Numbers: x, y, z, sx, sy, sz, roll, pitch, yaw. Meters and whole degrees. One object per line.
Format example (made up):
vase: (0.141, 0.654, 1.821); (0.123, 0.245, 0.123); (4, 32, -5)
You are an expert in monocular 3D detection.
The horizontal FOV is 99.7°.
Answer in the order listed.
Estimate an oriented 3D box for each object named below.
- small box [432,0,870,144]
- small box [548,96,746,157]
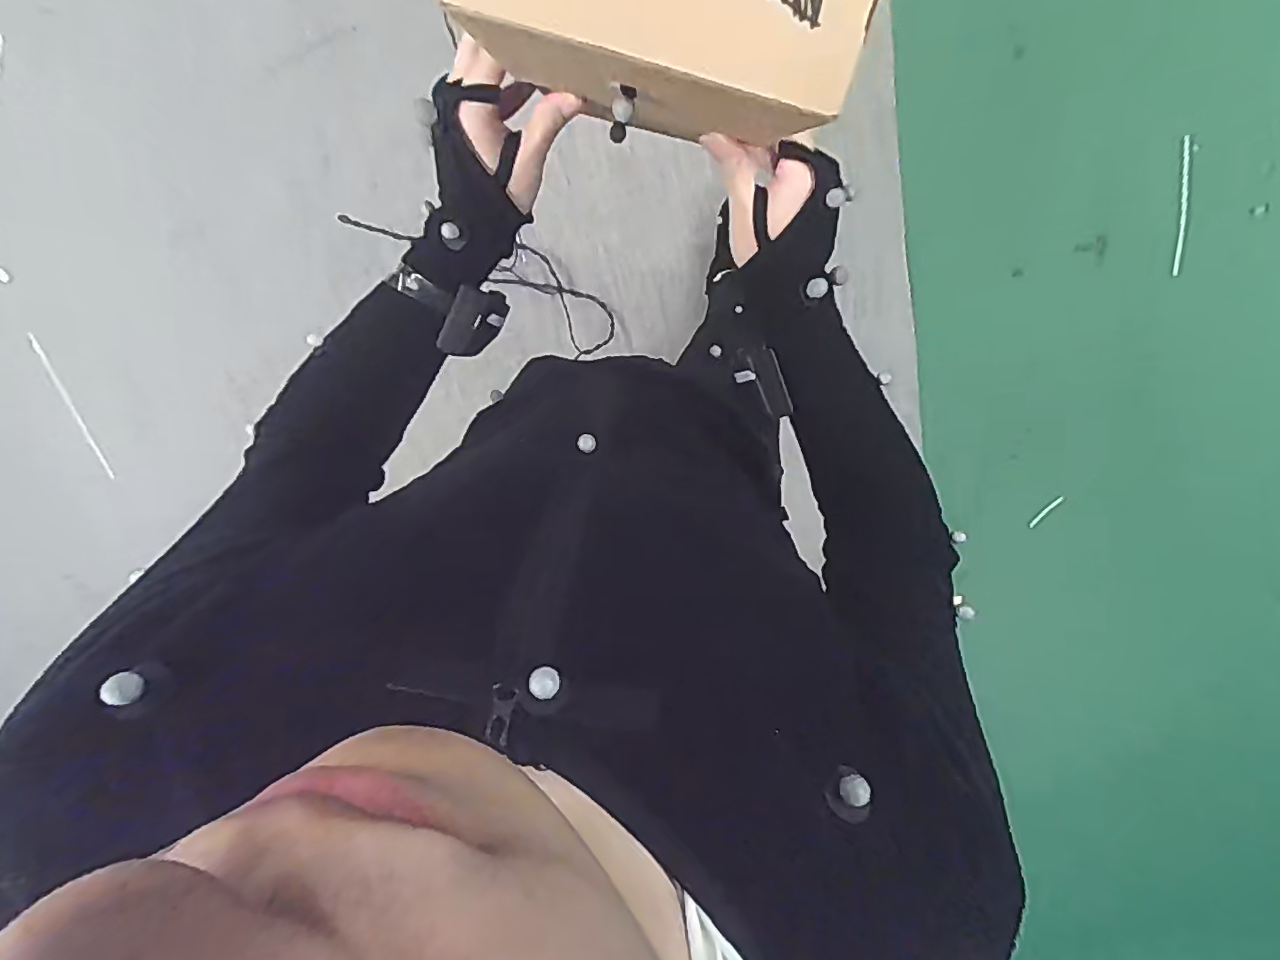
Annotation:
small box: (0.016, -0.281, 0.266); (0.179, 0.176, 0.168); (12, 116, -6)
small box: (0.016, -0.365, 0.407); (0.168, 0.176, 0.179); (10, 117, -6)
